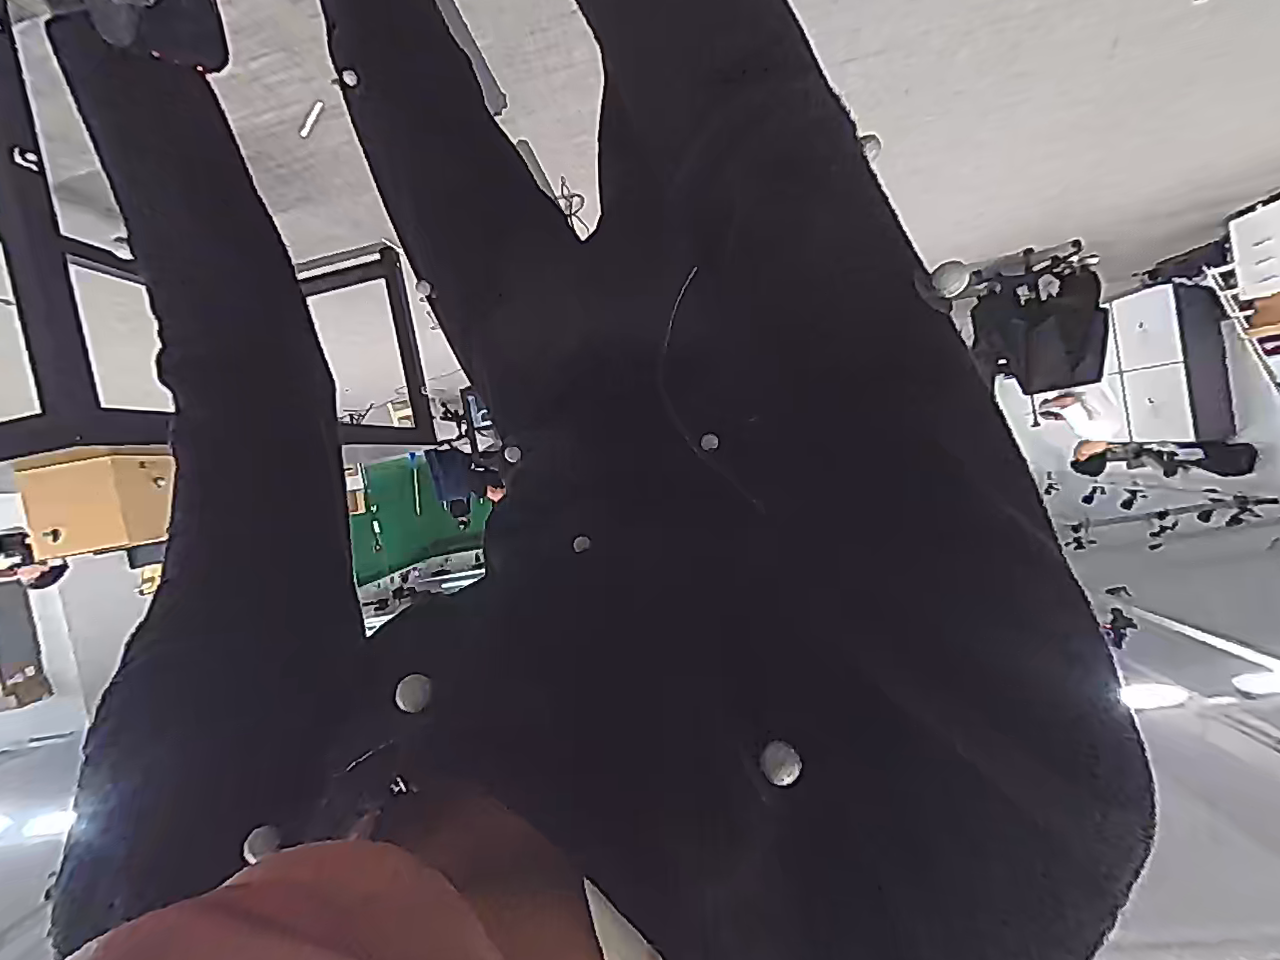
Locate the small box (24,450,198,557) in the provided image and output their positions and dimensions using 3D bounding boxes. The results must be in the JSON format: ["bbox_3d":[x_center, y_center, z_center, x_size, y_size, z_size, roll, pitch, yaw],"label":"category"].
[{"bbox_3d":[-1.016,0.040,1.045,0.179,0.176,0.168,-10,-176,0],"label":"small box"}]
